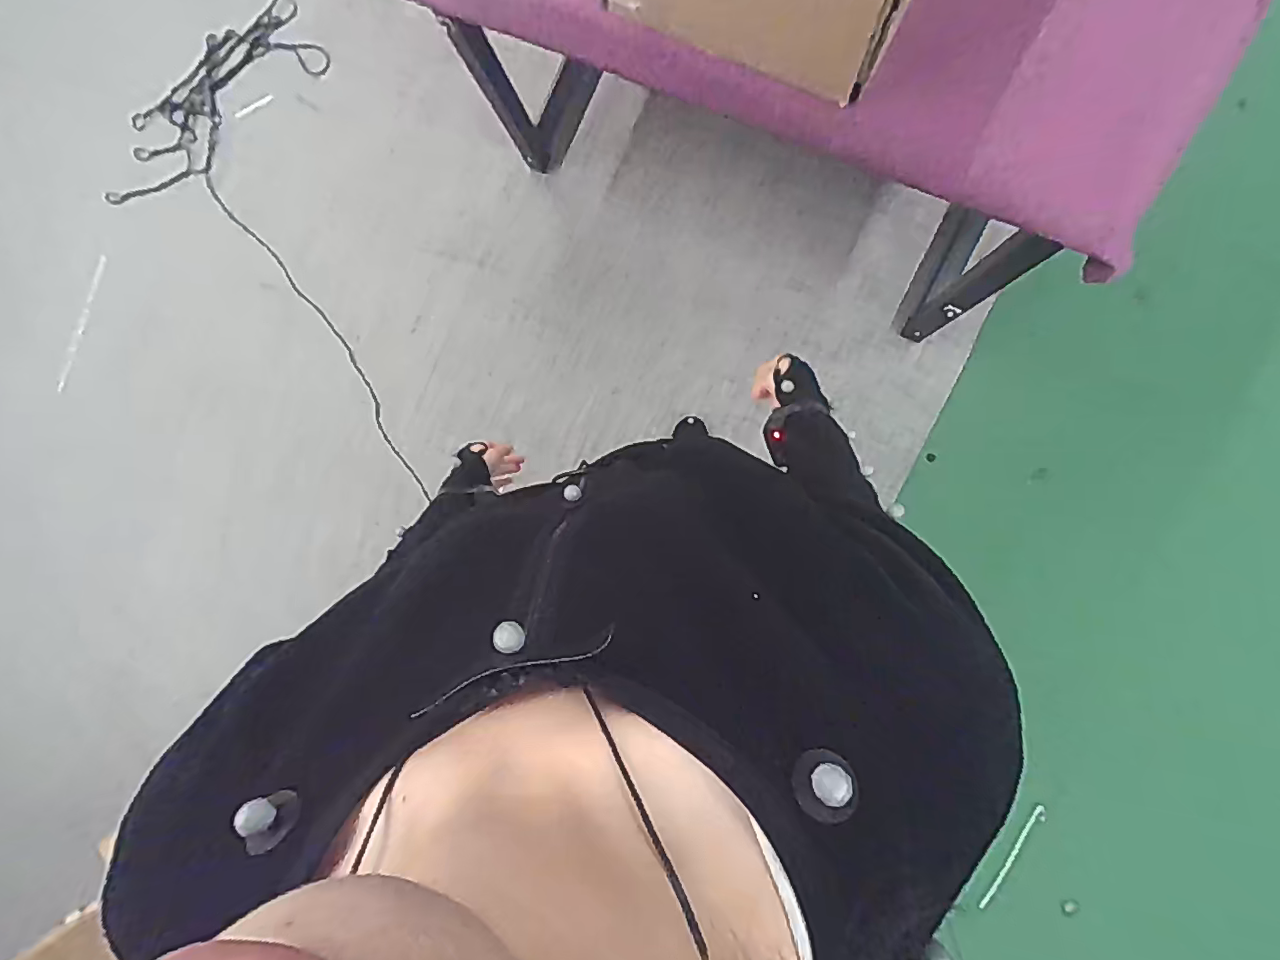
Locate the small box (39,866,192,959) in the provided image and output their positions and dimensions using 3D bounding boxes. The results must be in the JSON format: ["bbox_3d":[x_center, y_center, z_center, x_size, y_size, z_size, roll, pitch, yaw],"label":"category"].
[{"bbox_3d":[-1.239,1.071,1.288,0.168,0.176,0.179,-35,86,8],"label":"small box"}]

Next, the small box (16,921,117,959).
[{"bbox_3d":[-1.243,1.072,1.122,0.168,0.176,0.179,-31,88,7],"label":"small box"}]
